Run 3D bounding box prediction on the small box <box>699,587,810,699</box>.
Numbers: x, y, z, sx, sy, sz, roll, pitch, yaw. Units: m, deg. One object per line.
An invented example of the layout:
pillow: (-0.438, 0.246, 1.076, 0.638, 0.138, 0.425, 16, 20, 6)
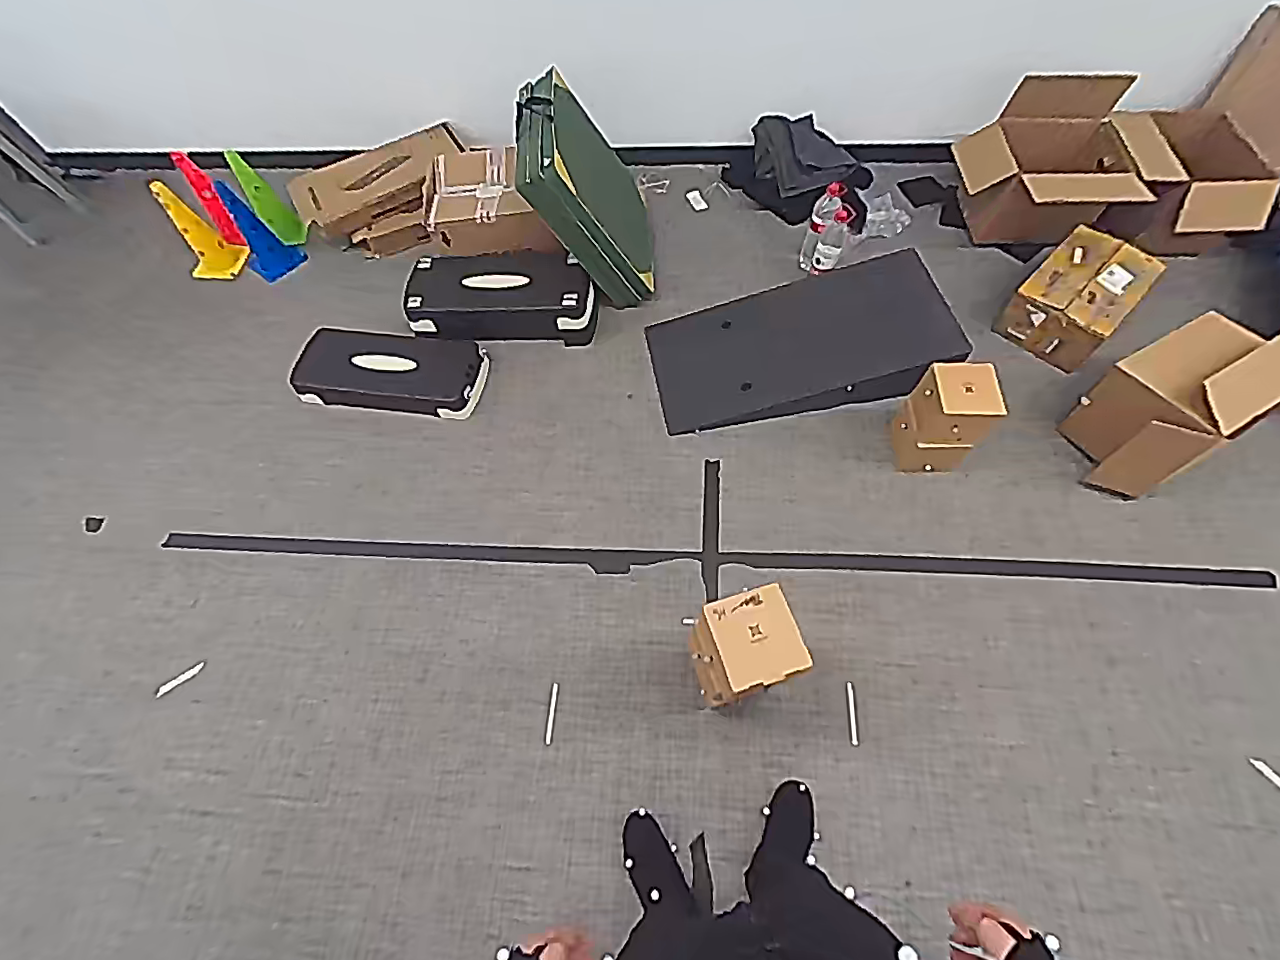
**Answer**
small box: (0.230, 0.348, 1.131, 0.168, 0.176, 0.179, -16, 64, -6)
